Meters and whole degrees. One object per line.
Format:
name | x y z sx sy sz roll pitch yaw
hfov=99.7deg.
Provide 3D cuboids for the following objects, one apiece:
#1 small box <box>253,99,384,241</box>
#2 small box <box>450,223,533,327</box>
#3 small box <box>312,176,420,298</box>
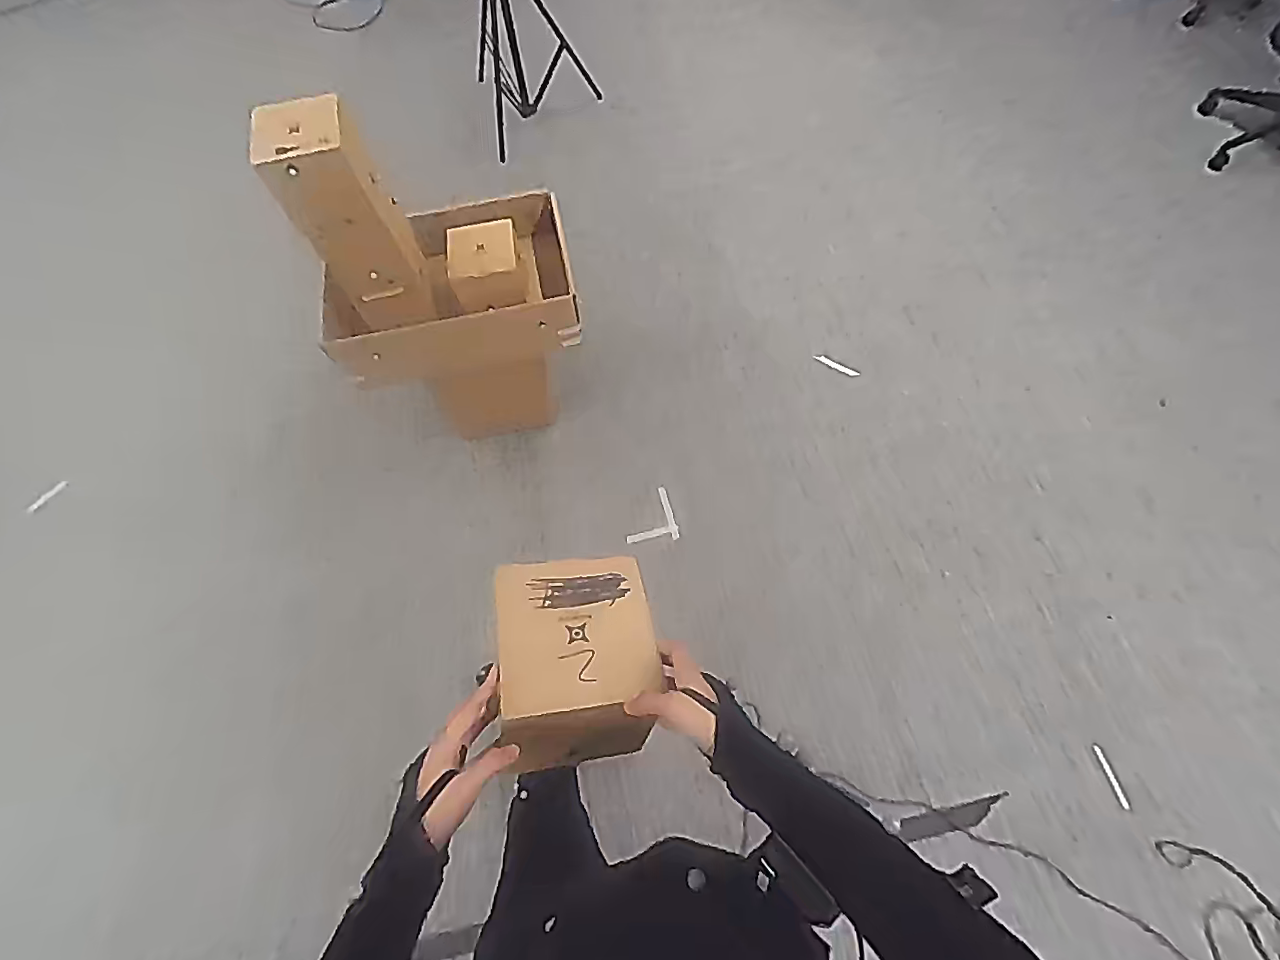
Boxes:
small box | -0.637 -0.621 1.091 0.168 0.176 0.179 -15 64 -3
small box | -0.380 -0.525 1.398 0.168 0.176 0.179 -10 66 -1
small box | -0.623 -0.553 1.241 0.168 0.176 0.179 -14 66 -3
